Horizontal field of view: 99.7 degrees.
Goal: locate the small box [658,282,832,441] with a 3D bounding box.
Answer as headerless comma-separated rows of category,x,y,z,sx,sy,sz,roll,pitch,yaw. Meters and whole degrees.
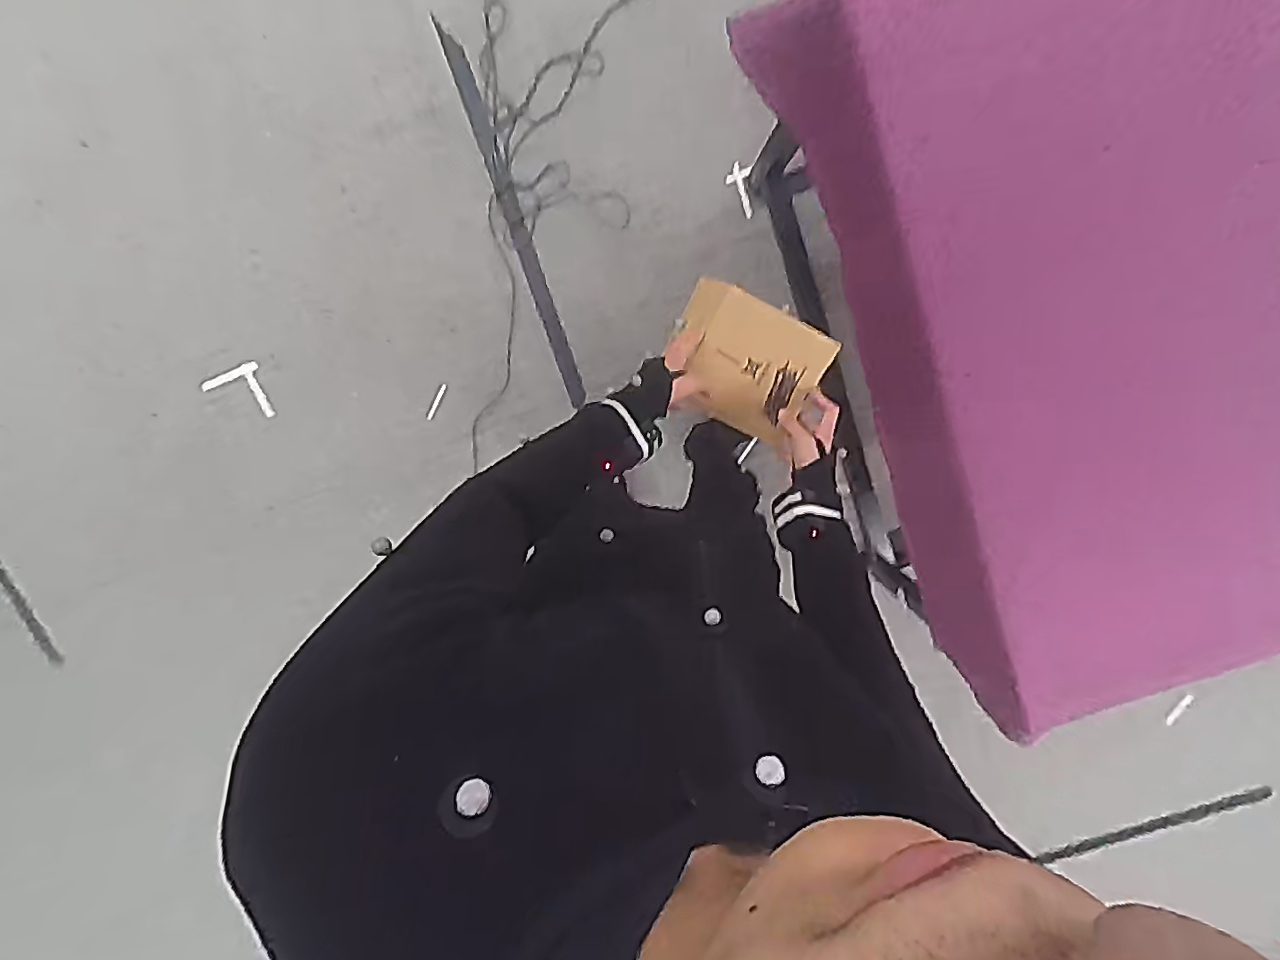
small box,0.147,-0.188,0.823,0.179,0.176,0.168,22,108,-17
